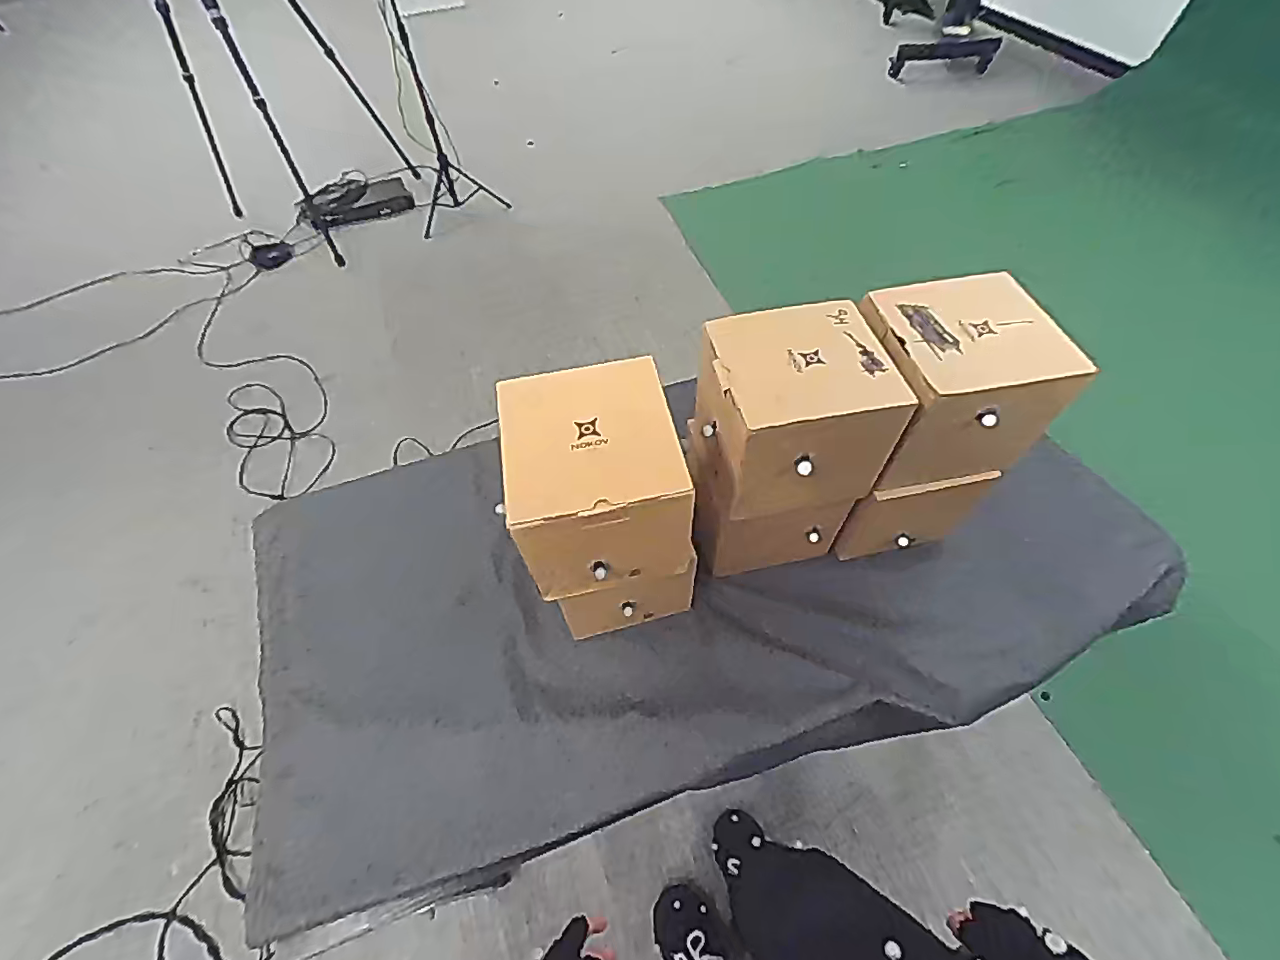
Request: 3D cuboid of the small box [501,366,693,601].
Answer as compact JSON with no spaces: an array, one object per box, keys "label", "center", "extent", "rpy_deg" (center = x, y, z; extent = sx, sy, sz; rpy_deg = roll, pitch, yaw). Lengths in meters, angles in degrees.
[{"label":"small box","center":[-0.046,0.007,0.585],"extent":[0.168,0.176,0.179],"rpy_deg":[-12,57,-5]}]
